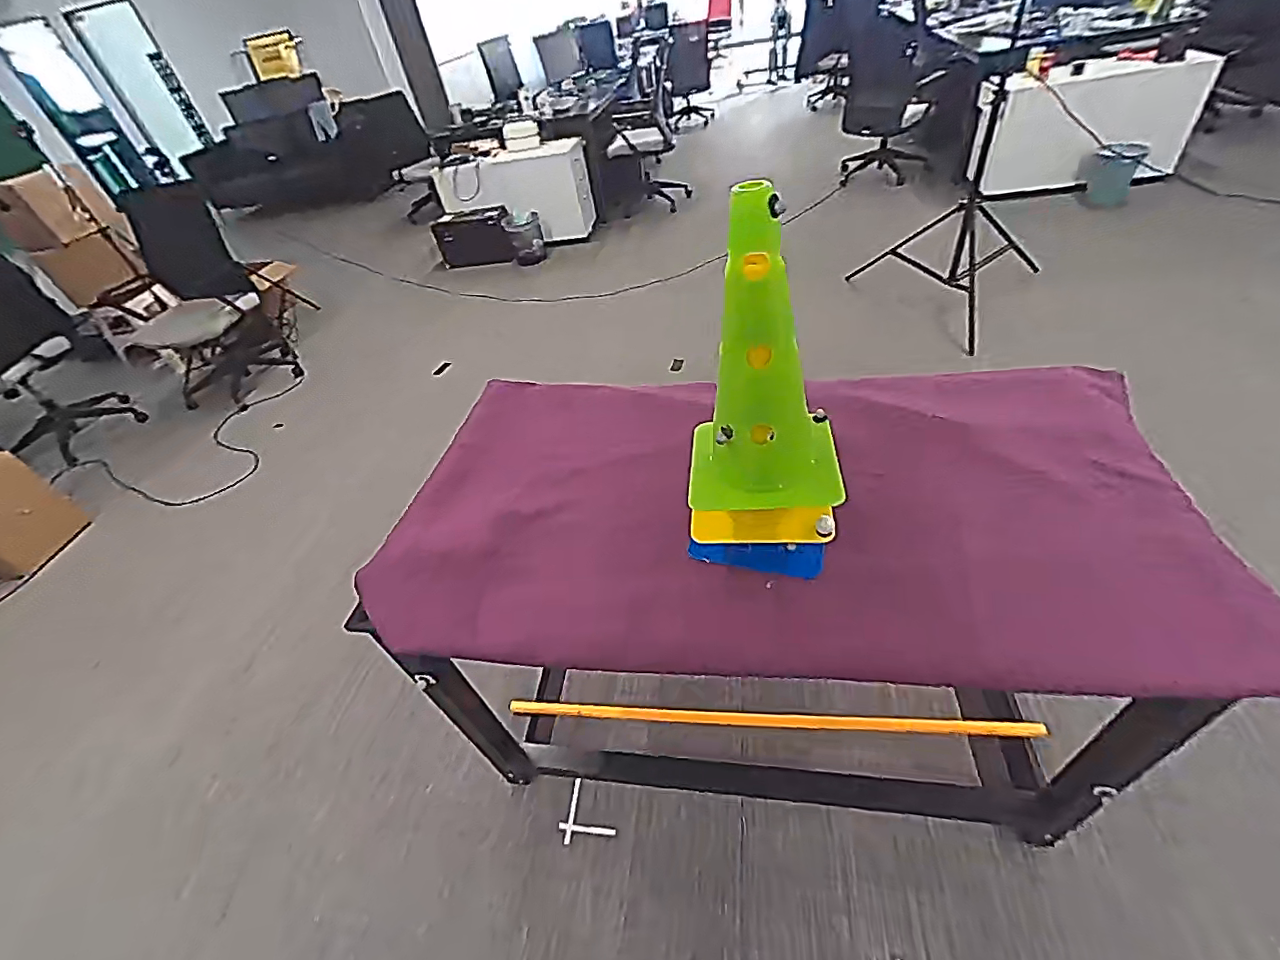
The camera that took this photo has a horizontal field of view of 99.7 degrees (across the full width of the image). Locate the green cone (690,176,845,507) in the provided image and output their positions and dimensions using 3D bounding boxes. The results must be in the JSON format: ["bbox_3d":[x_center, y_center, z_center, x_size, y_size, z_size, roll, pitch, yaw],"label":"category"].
[{"bbox_3d":[0.139,-0.164,0.654,0.200,0.368,0.202,-4,41,12],"label":"green cone"}]
